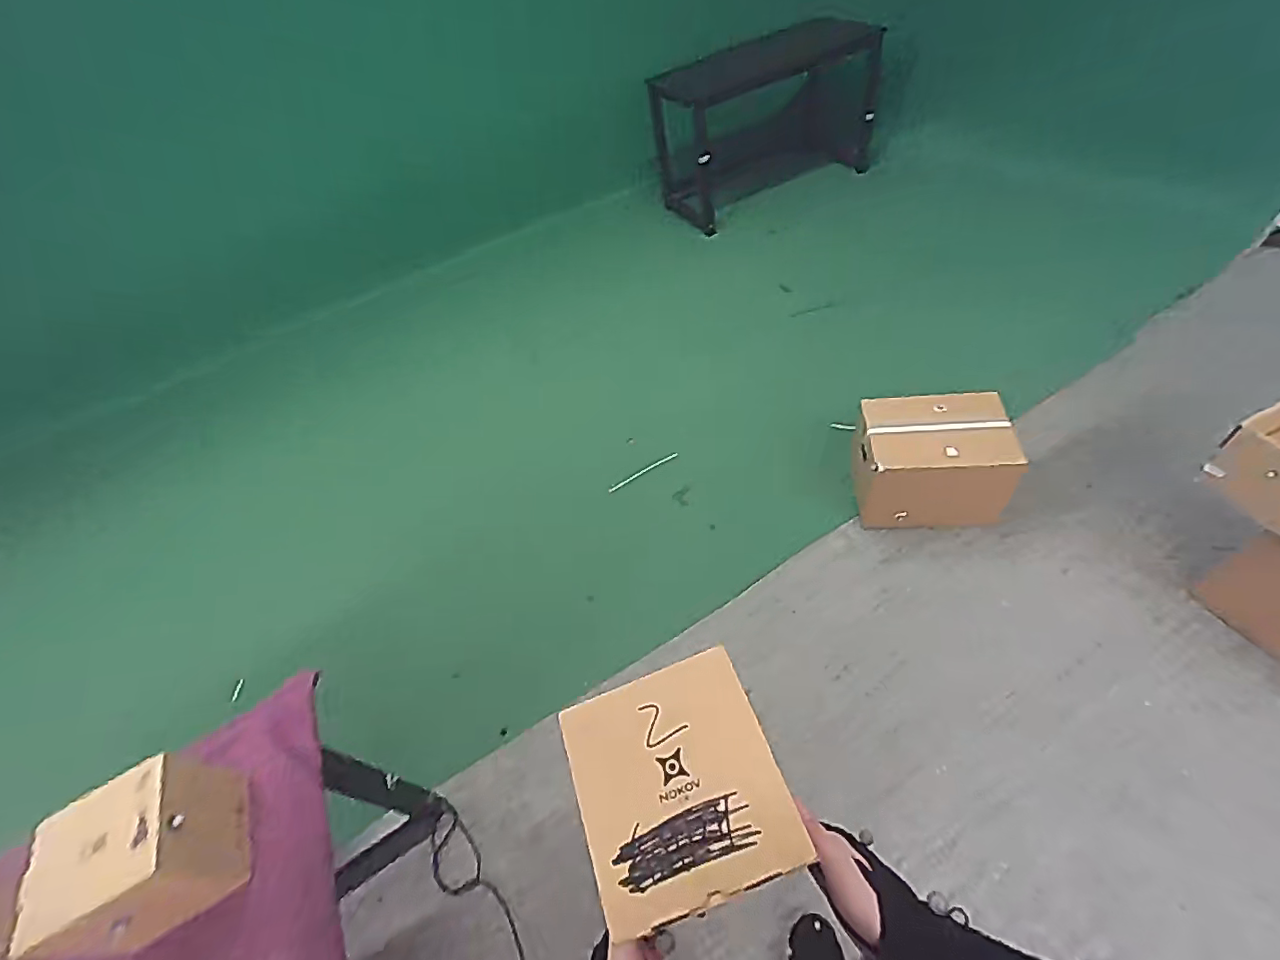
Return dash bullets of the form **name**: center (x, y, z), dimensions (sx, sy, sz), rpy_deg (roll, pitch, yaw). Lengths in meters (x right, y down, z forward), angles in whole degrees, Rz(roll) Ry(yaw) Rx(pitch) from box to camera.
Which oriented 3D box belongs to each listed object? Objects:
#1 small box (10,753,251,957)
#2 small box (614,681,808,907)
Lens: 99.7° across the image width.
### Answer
- **small box**: center (-0.700, 0.529, 0.769), dimensions (0.179, 0.176, 0.168), rpy_deg (-30, 52, -10)
- **small box**: center (0.084, 0.370, 0.643), dimensions (0.168, 0.176, 0.179), rpy_deg (-20, 53, -1)
